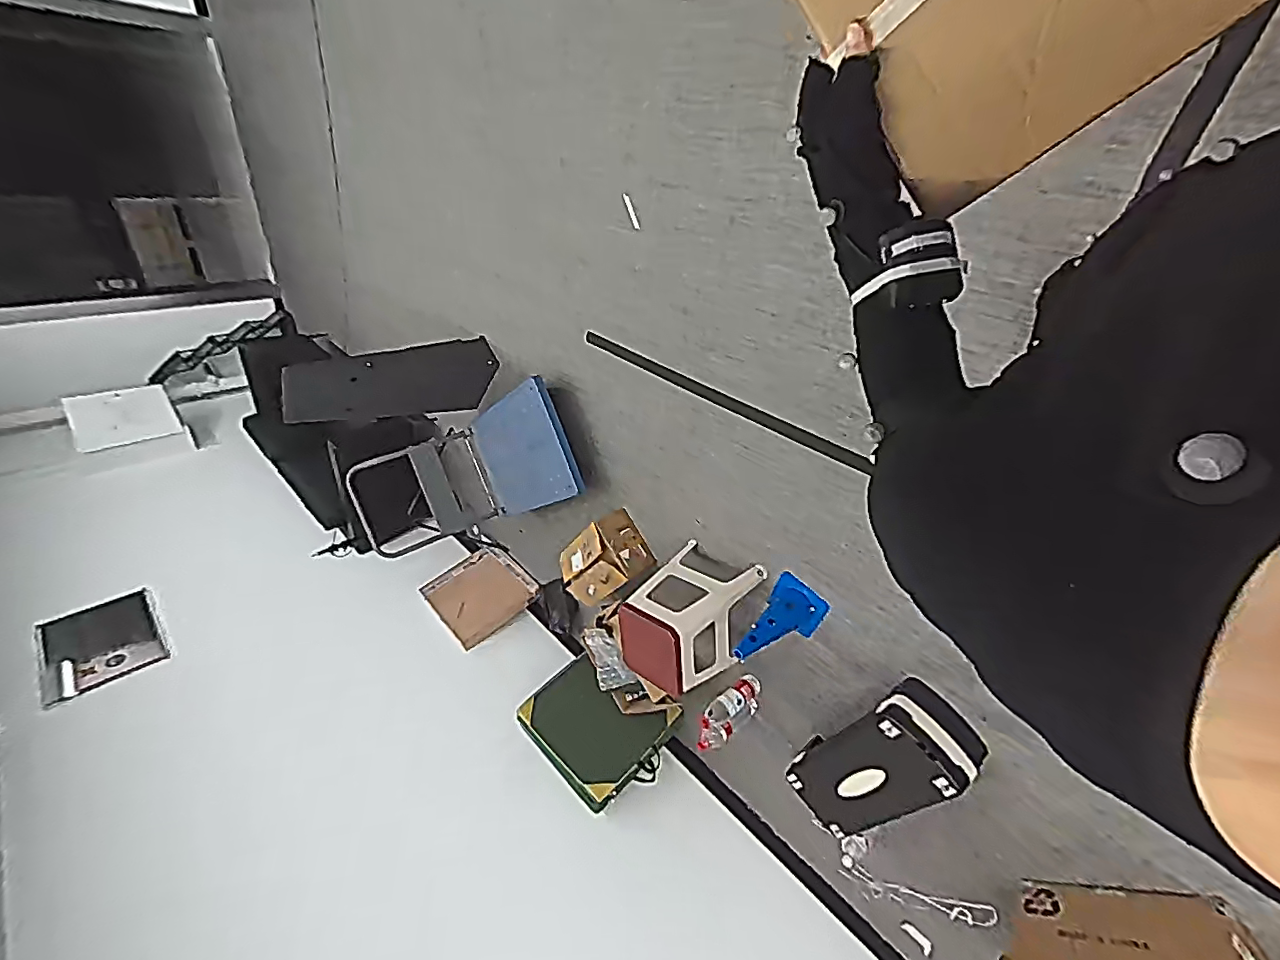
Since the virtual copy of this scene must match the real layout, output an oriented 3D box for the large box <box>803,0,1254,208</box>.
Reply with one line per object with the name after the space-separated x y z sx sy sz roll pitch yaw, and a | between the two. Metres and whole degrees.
0.368 -0.492 0.443 0.408 0.320 0.320 -31 98 37 | large box
